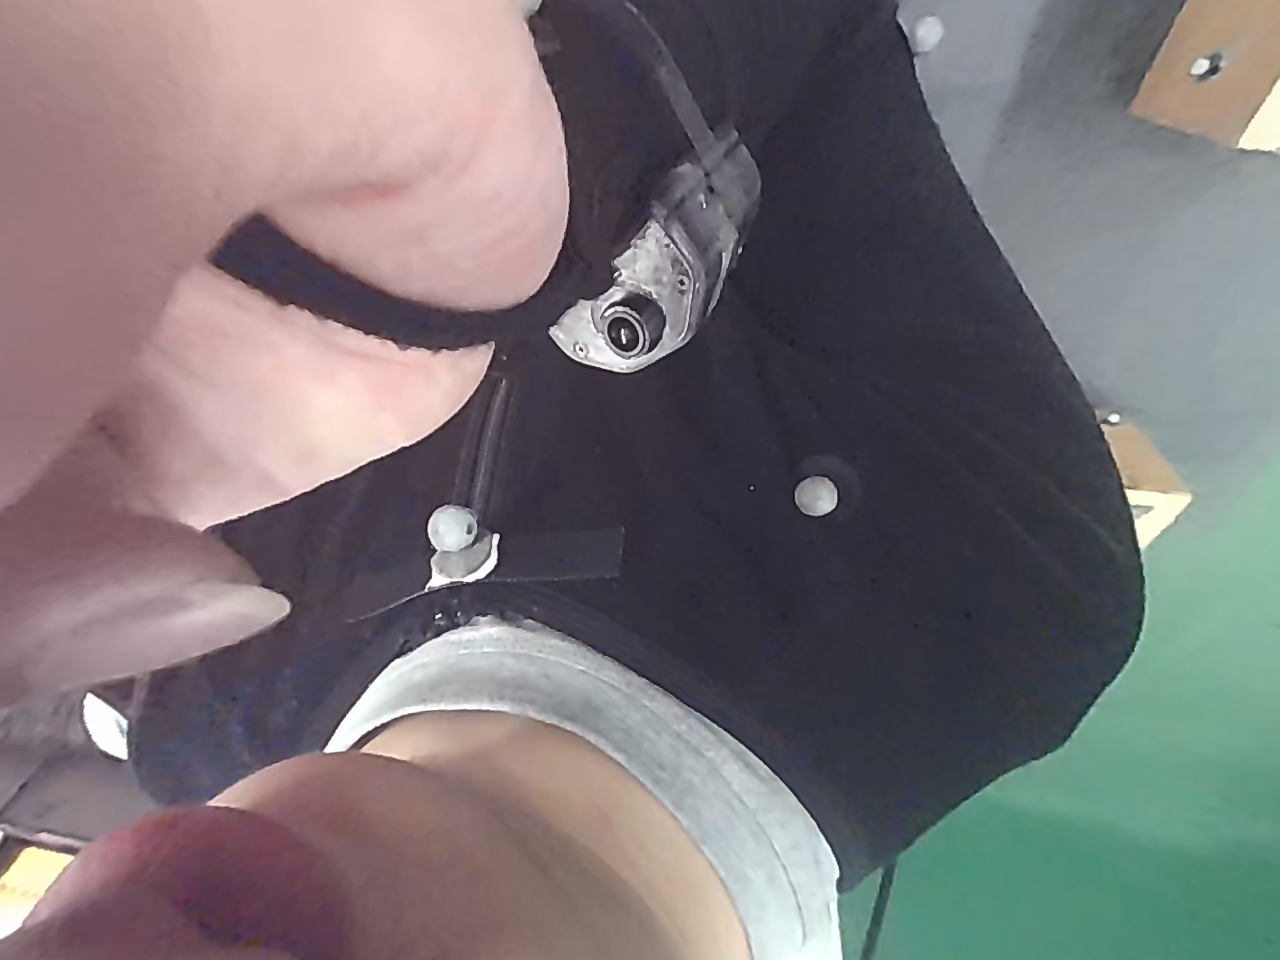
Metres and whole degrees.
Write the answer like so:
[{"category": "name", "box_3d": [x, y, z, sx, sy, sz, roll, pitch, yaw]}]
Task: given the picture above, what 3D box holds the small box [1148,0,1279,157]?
[{"category": "small box", "box_3d": [0.545, -0.353, 0.404, 0.168, 0.176, 0.179, 7, 131, 5]}]
